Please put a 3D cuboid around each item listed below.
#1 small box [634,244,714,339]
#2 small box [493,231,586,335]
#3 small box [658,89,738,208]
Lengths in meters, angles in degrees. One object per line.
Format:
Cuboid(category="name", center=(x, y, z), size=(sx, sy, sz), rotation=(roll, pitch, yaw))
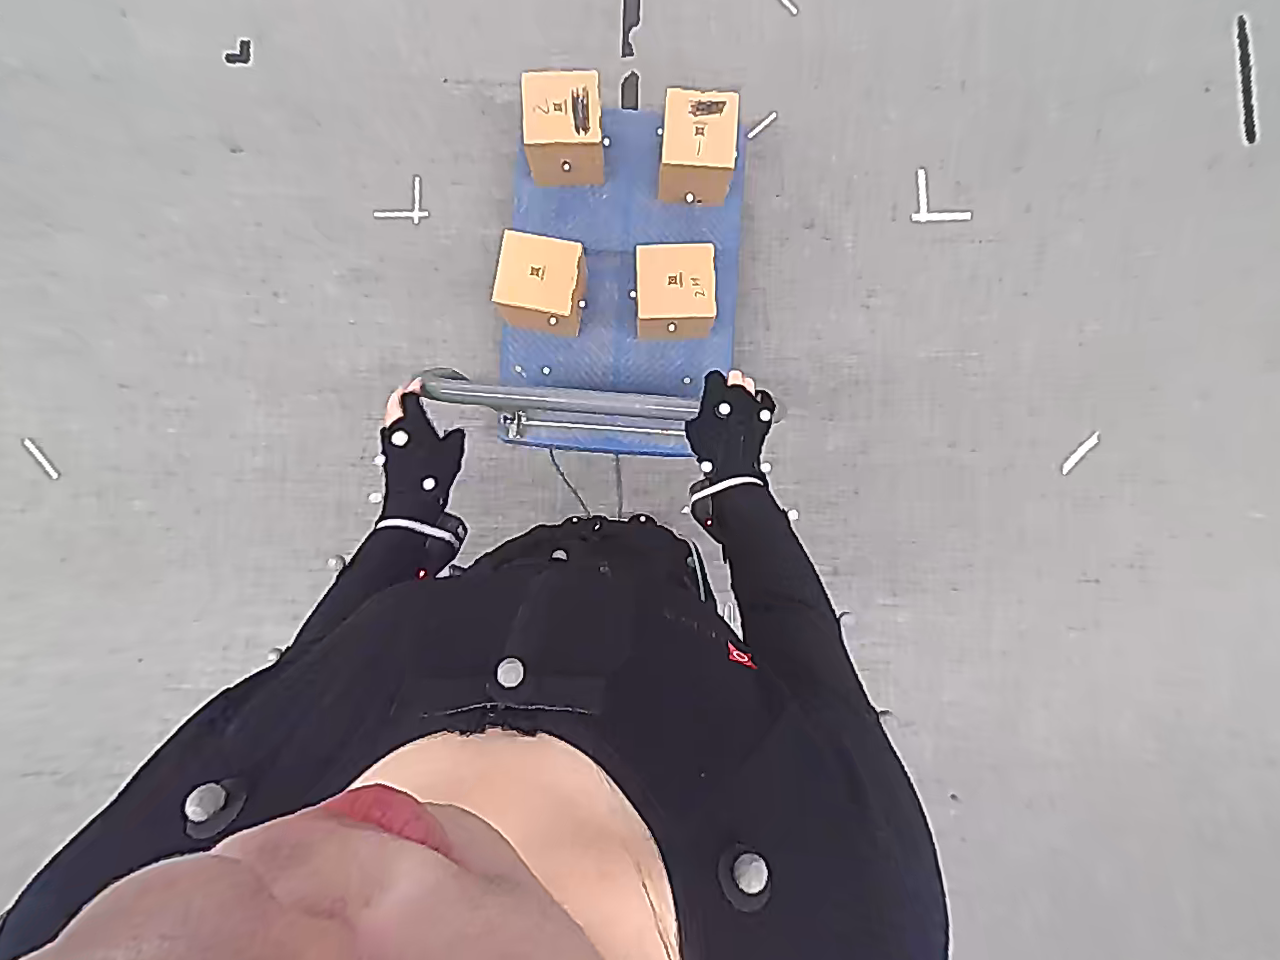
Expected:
Cuboid(category="small box", center=(0.077, -0.439, 1.280), size=(0.179, 0.176, 0.168), rotation=(-1, 88, -1))
Cuboid(category="small box", center=(-0.229, -0.457, 1.277), size=(0.179, 0.176, 0.168), rotation=(9, 87, -2))
Cuboid(category="small box", center=(0.133, -0.787, 1.296), size=(0.168, 0.176, 0.179), rotation=(4, 89, -1))
